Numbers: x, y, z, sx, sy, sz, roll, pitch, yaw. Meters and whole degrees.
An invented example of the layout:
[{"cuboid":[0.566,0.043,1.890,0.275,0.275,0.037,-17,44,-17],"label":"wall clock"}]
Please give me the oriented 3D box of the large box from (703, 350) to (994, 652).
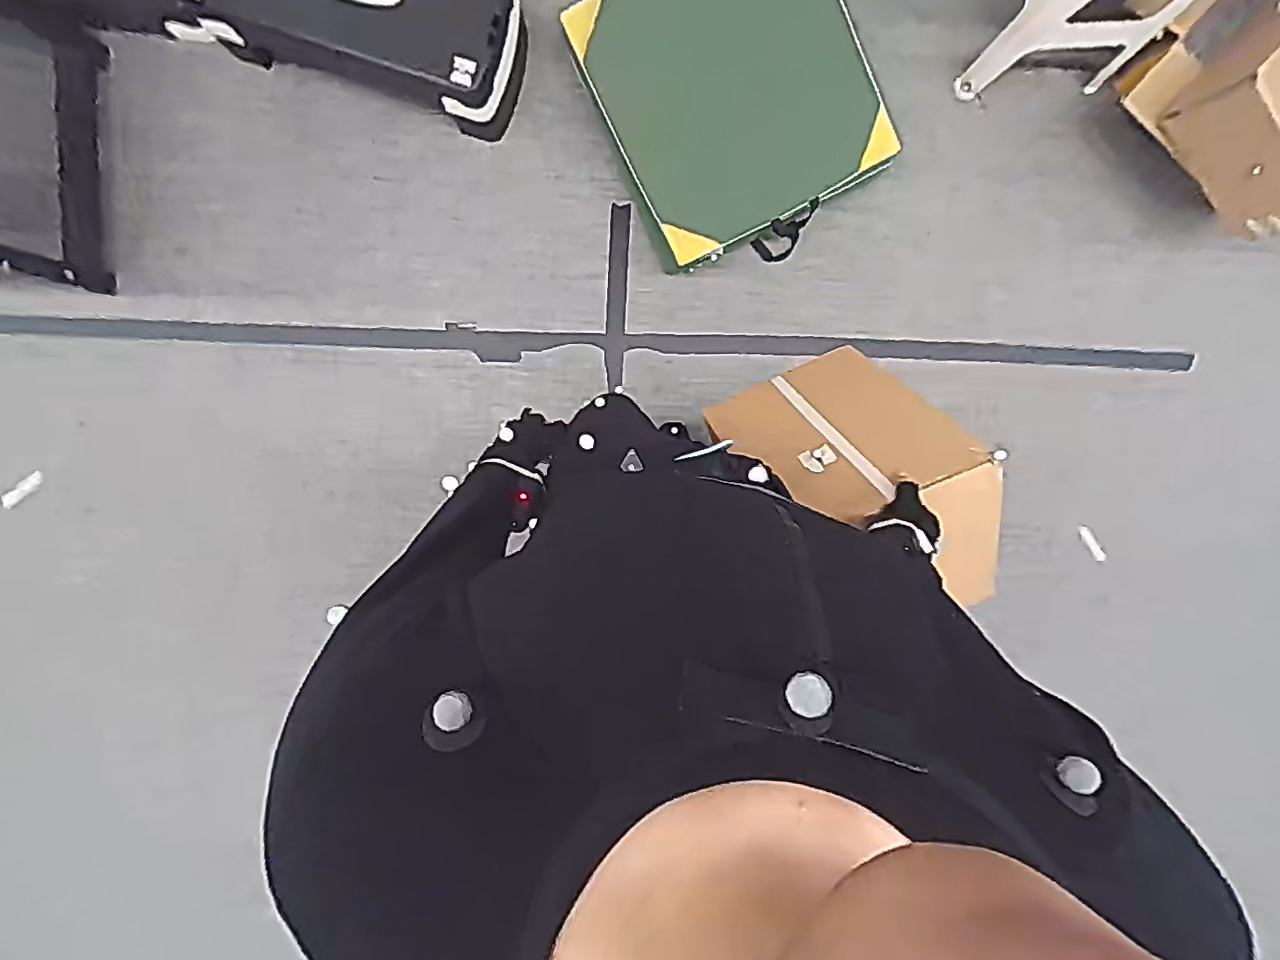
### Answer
[{"cuboid":[0.354,0.025,0.994,0.320,0.408,0.320,-24,128,3],"label":"large box"}]
